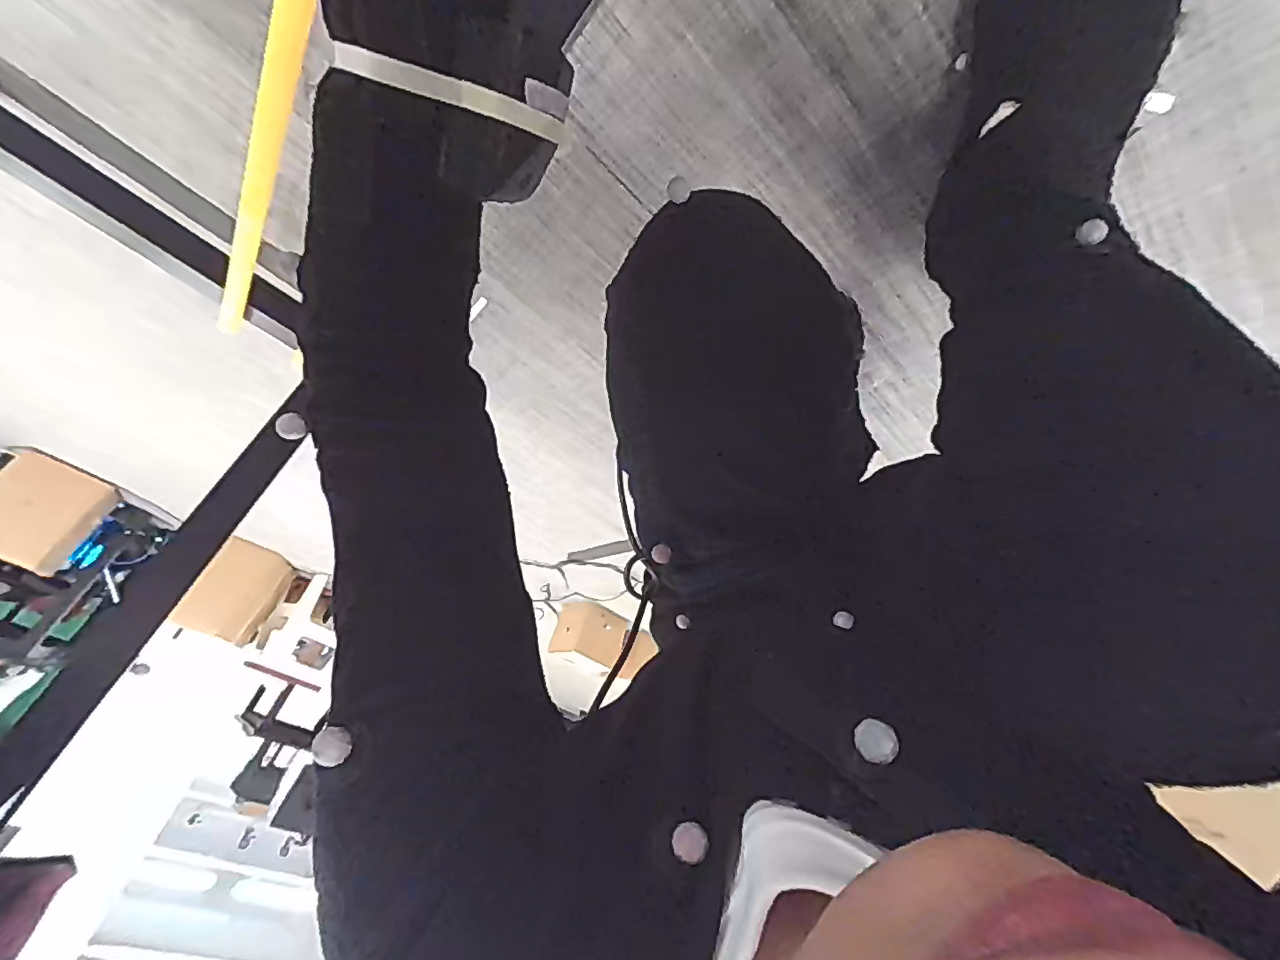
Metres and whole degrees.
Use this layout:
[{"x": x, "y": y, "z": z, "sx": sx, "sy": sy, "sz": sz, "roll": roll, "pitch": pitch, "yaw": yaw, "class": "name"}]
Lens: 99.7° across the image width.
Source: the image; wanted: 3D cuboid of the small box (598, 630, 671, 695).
[{"x": -0.013, "y": 0.638, "z": 1.899, "sx": 0.179, "sy": 0.176, "sz": 0.168, "roll": 36, "pitch": 145, "yaw": -28, "class": "small box"}]

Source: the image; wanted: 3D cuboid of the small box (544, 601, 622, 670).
[{"x": -0.183, "y": 0.517, "z": 1.798, "sx": 0.168, "sy": 0.176, "sz": 0.179, "roll": 36, "pitch": 145, "yaw": -26, "class": "small box"}]
